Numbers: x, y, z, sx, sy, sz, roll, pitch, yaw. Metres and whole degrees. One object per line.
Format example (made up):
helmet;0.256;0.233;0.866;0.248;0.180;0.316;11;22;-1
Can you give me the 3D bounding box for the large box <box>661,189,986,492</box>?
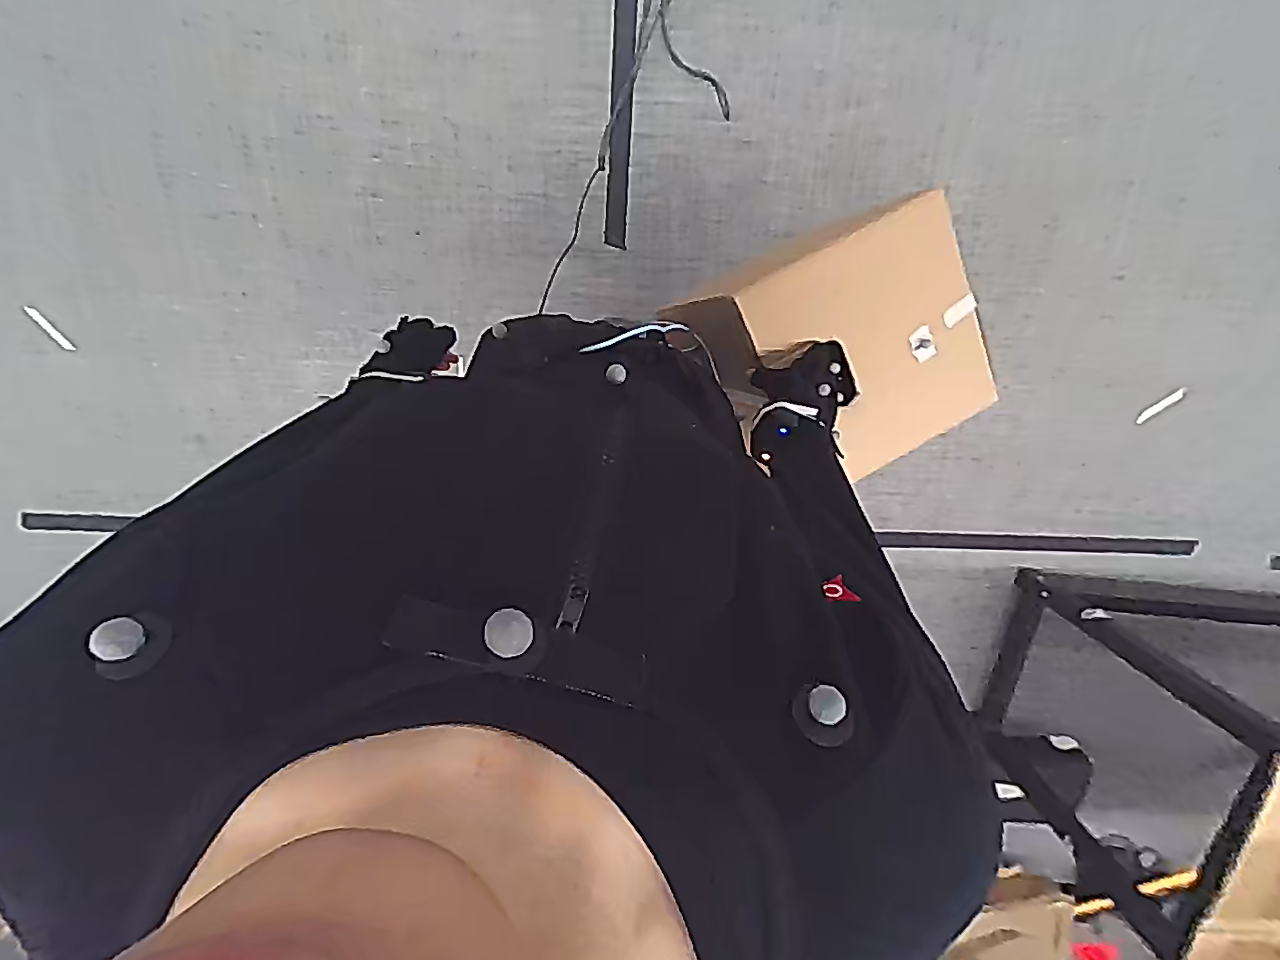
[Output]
large box;0.275;-0.227;0.922;0.320;0.408;0.320;-29;108;-3
